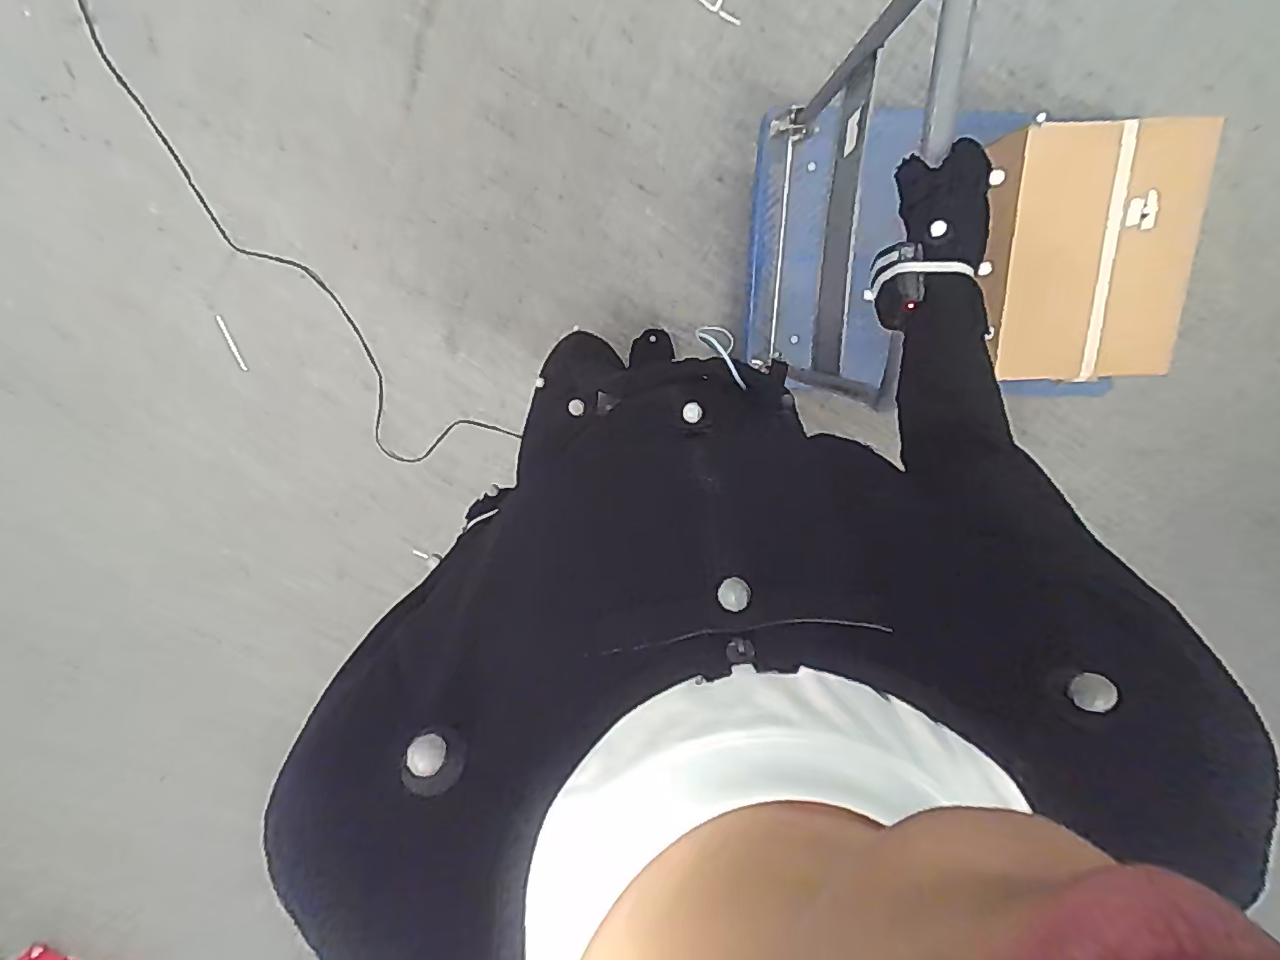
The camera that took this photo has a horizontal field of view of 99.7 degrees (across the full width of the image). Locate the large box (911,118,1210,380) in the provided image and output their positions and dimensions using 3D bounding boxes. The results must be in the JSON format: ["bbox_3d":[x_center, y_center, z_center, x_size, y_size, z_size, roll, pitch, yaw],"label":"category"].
[{"bbox_3d":[0.760,-0.411,1.048,0.320,0.320,0.408,-2,105,-1],"label":"large box"}]
